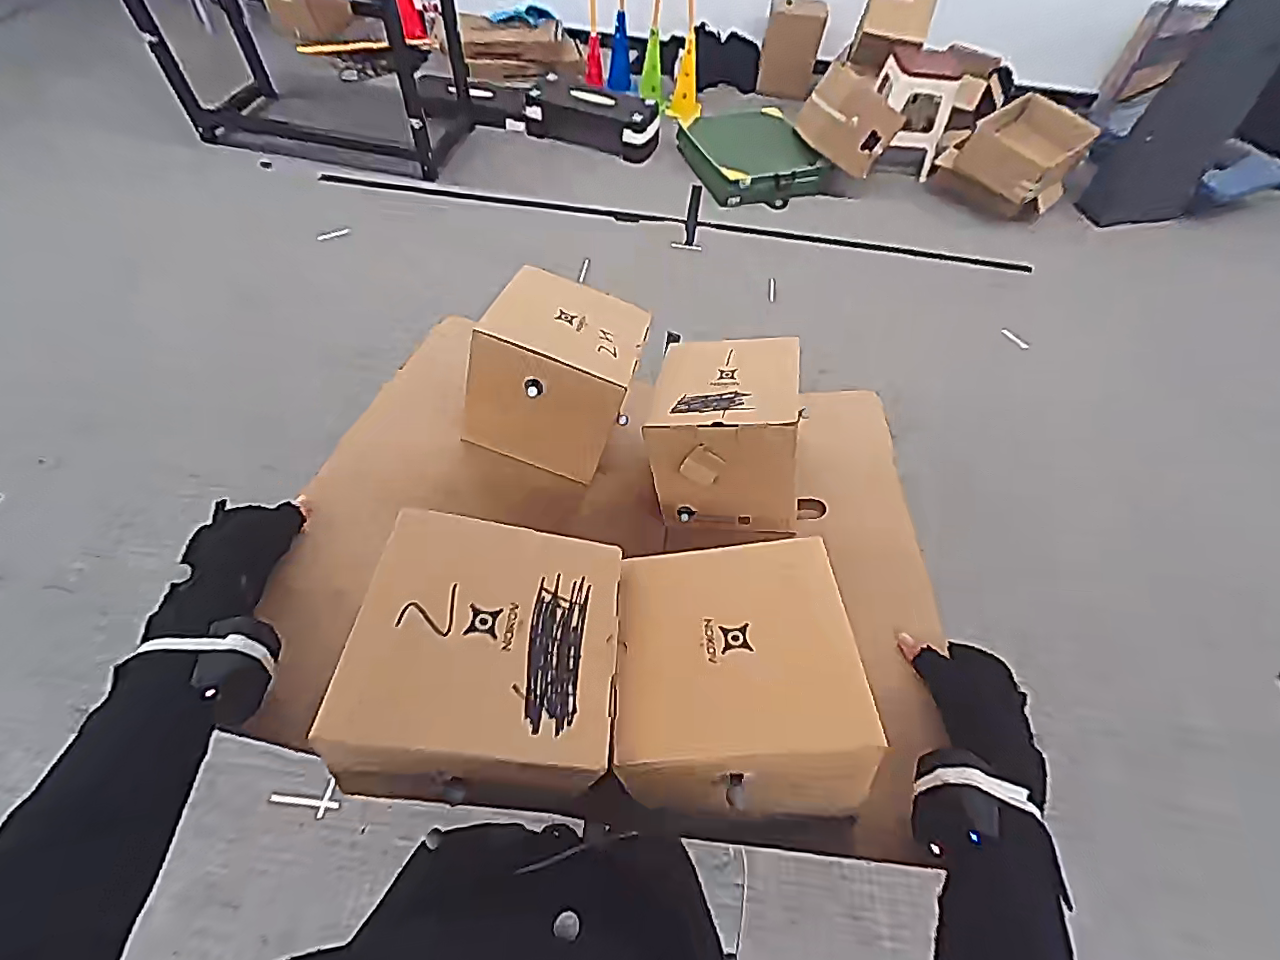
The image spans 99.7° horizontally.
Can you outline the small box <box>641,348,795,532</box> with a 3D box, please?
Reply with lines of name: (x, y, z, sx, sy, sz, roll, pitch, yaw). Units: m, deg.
small box: (0.112, -0.049, 0.696, 0.168, 0.176, 0.179, 1, 42, 17)
